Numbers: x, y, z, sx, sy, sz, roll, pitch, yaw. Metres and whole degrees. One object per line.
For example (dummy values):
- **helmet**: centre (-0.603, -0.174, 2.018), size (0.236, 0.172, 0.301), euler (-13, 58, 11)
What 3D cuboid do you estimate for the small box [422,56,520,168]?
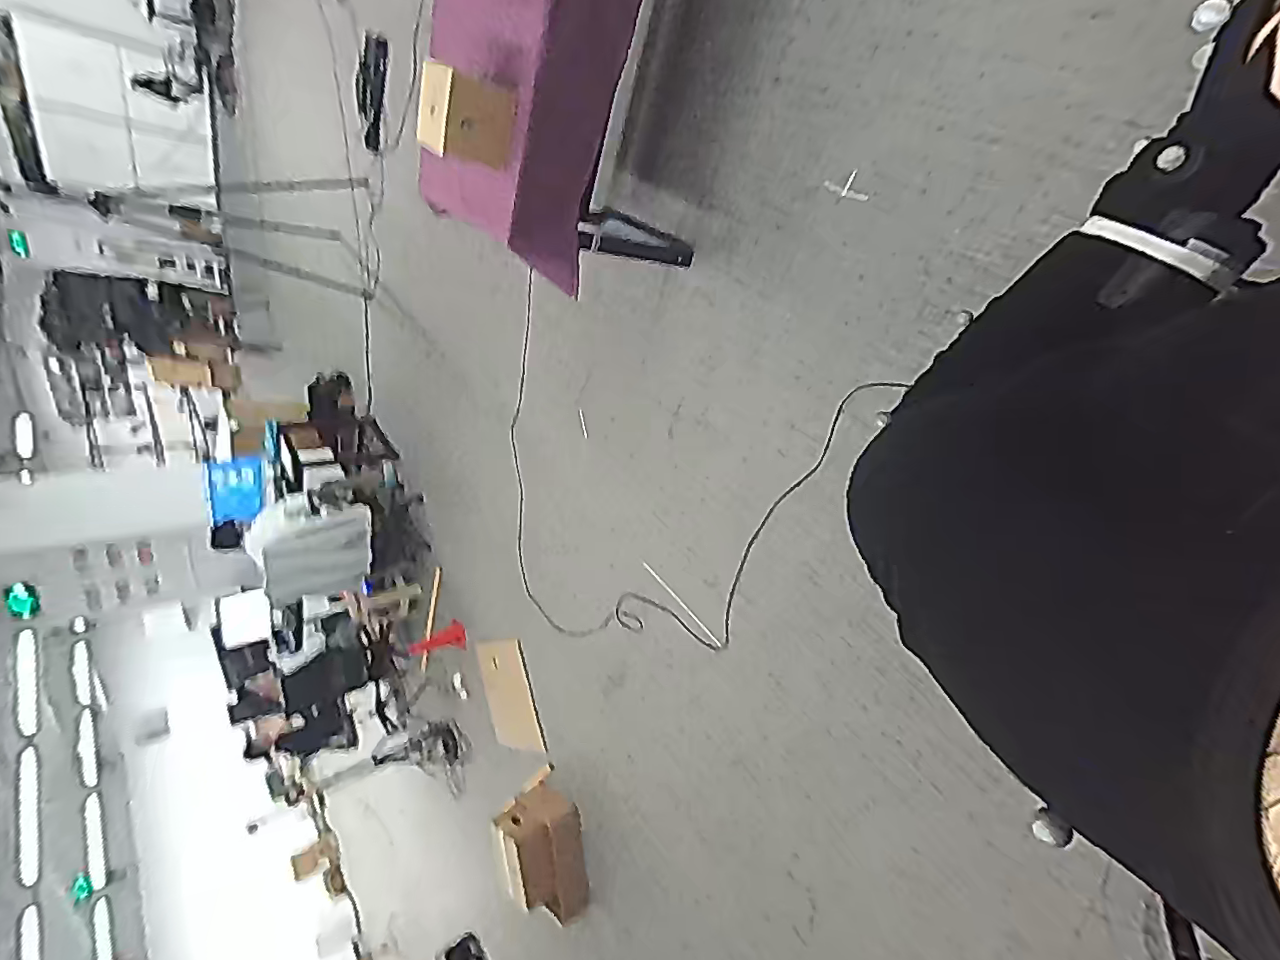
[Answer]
- **small box**: centre (-0.417, -0.902, 1.339), size (0.168, 0.176, 0.179), euler (45, 127, 32)
